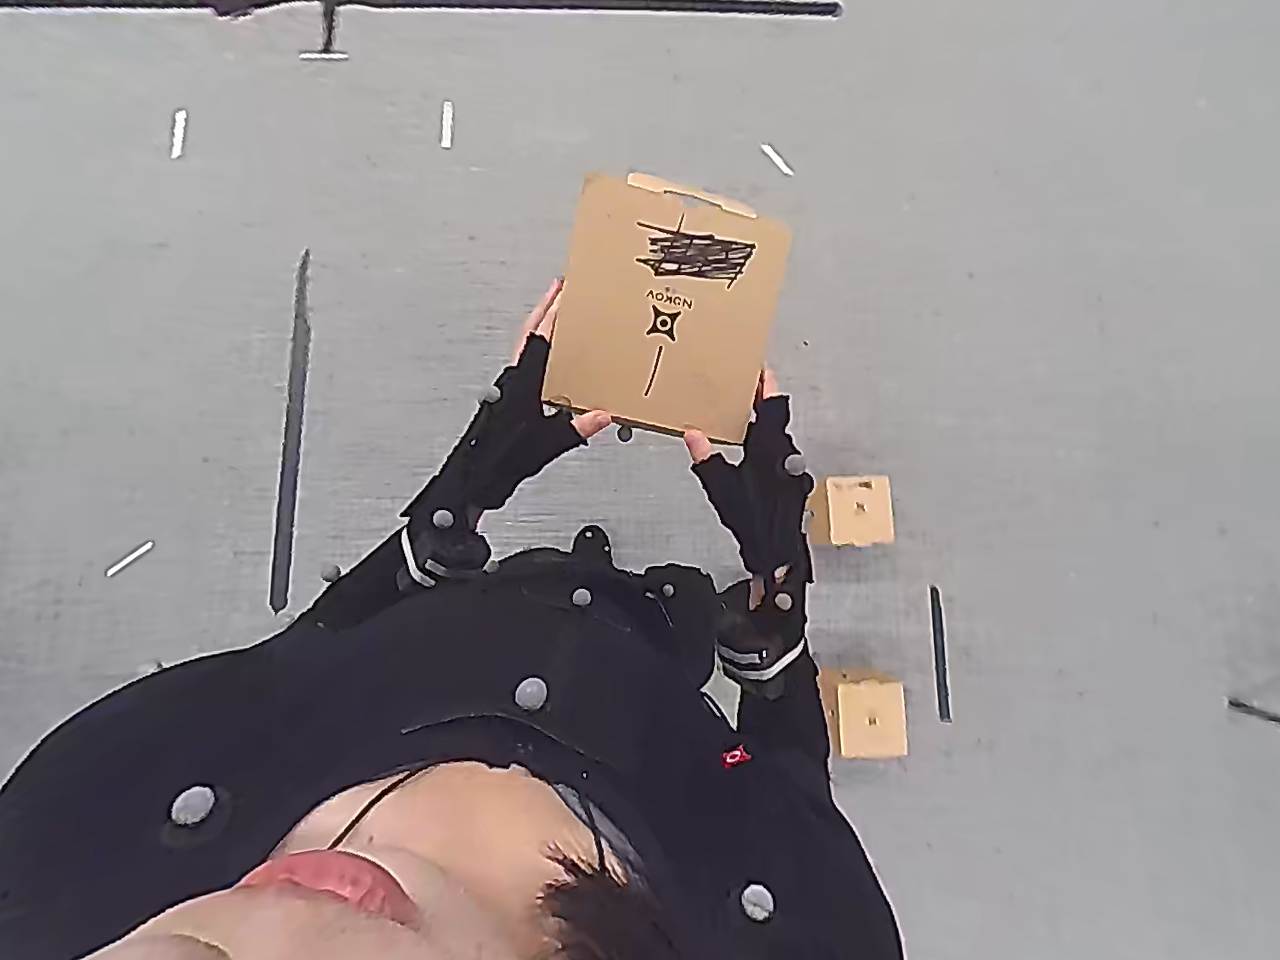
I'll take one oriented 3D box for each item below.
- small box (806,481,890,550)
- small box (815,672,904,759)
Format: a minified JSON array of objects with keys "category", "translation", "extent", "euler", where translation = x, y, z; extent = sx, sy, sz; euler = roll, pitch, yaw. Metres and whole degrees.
[{"category":"small box","translation":[0.559,0.098,1.471],"extent":[0.168,0.176,0.179],"euler":[-1,84,-1]},{"category":"small box","translation":[0.565,0.606,1.413],"extent":[0.168,0.176,0.179],"euler":[-1,85,0]}]
